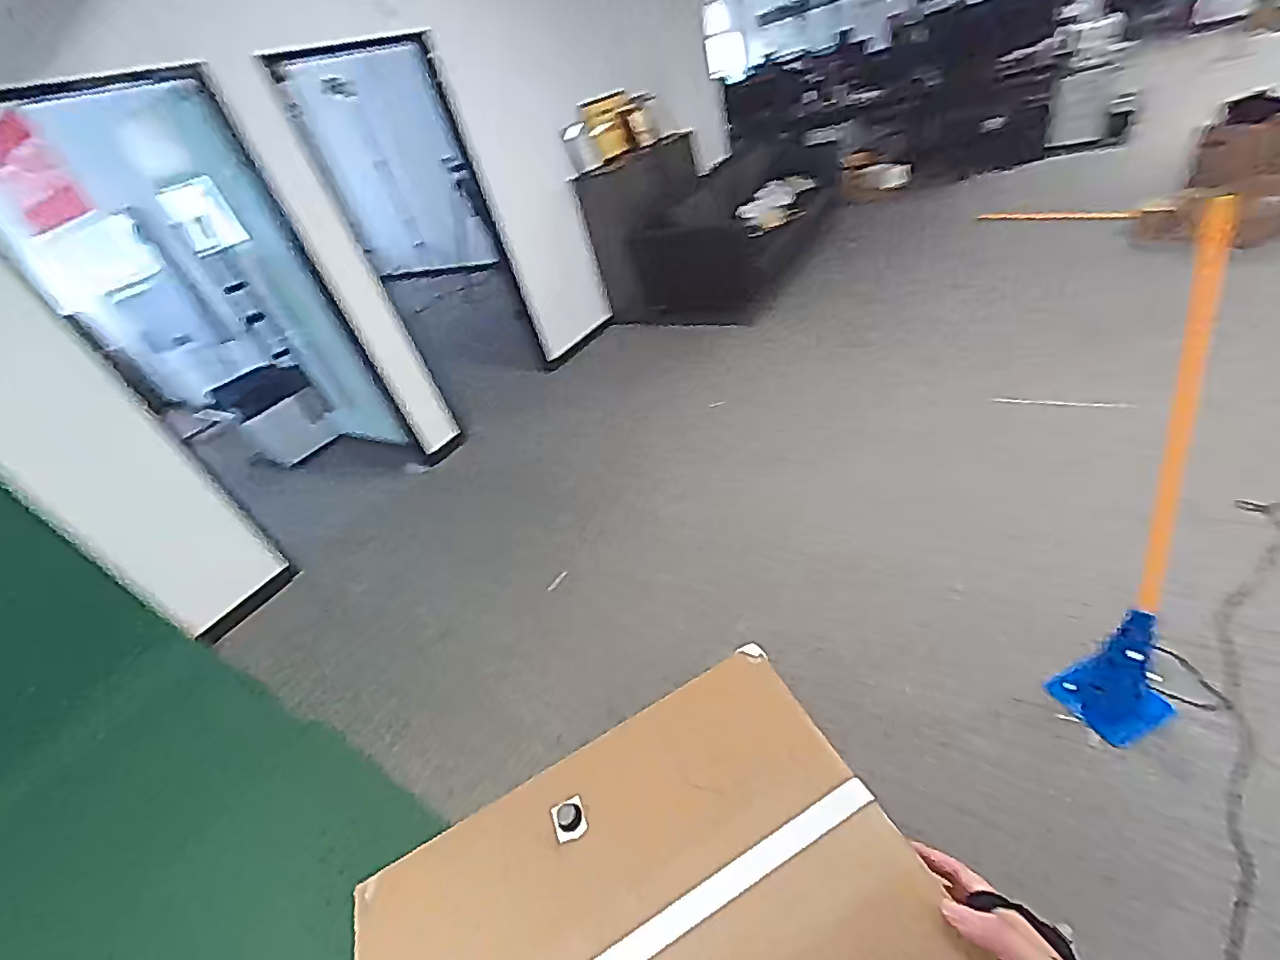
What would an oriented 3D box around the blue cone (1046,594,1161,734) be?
[{"bbox_3d":[1.145,0.415,1.296,0.193,0.380,0.192,-27,35,-11],"label":"blue cone"}]
